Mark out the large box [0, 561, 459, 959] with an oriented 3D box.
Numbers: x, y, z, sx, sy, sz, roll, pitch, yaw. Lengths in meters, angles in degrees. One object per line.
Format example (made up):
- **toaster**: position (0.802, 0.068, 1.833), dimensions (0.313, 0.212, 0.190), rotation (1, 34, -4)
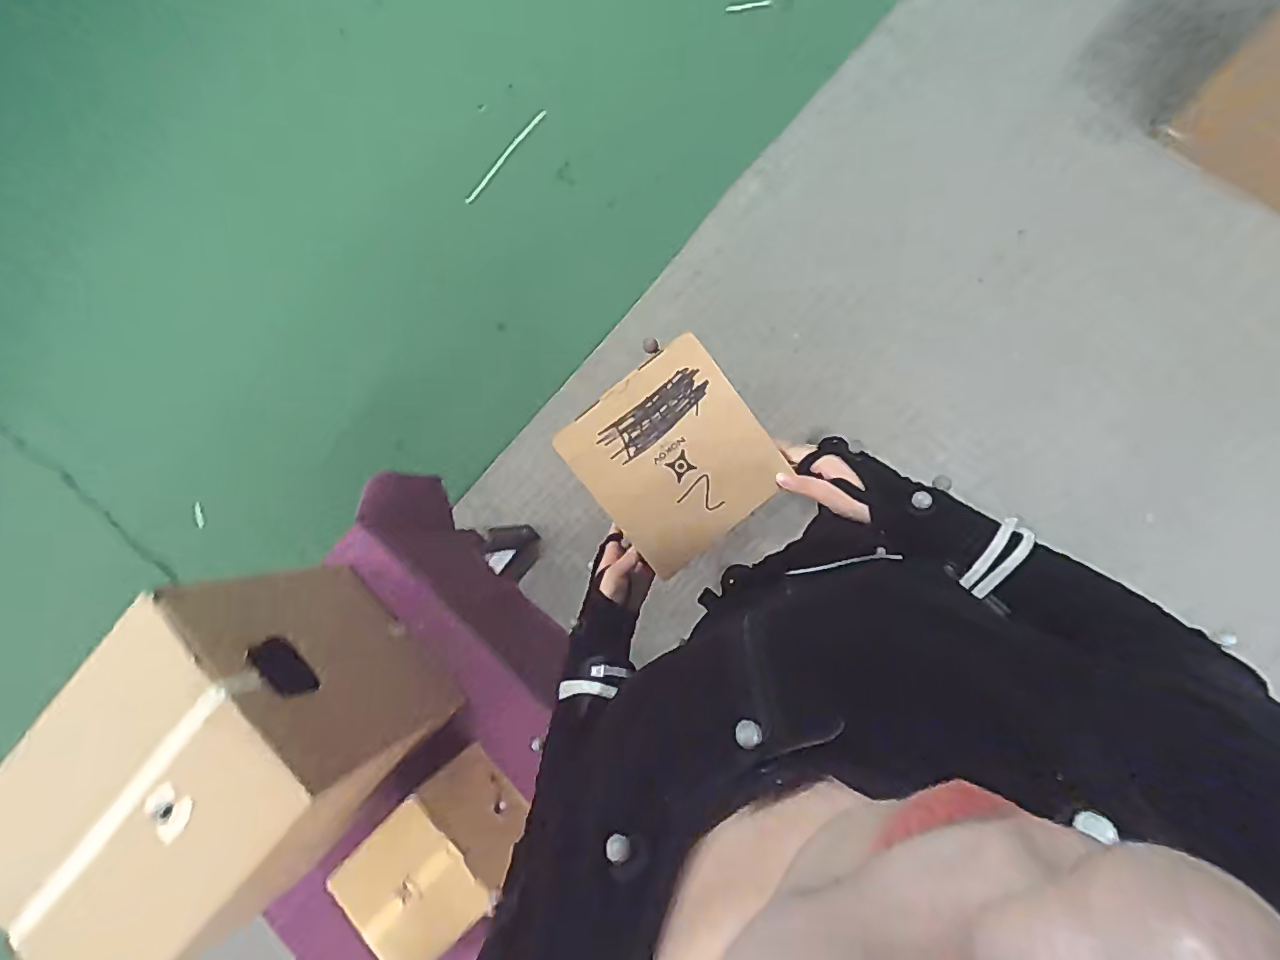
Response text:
- **large box**: position (-0.544, 0.365, 0.743), dimensions (0.320, 0.320, 0.408), rotation (43, 94, 10)
